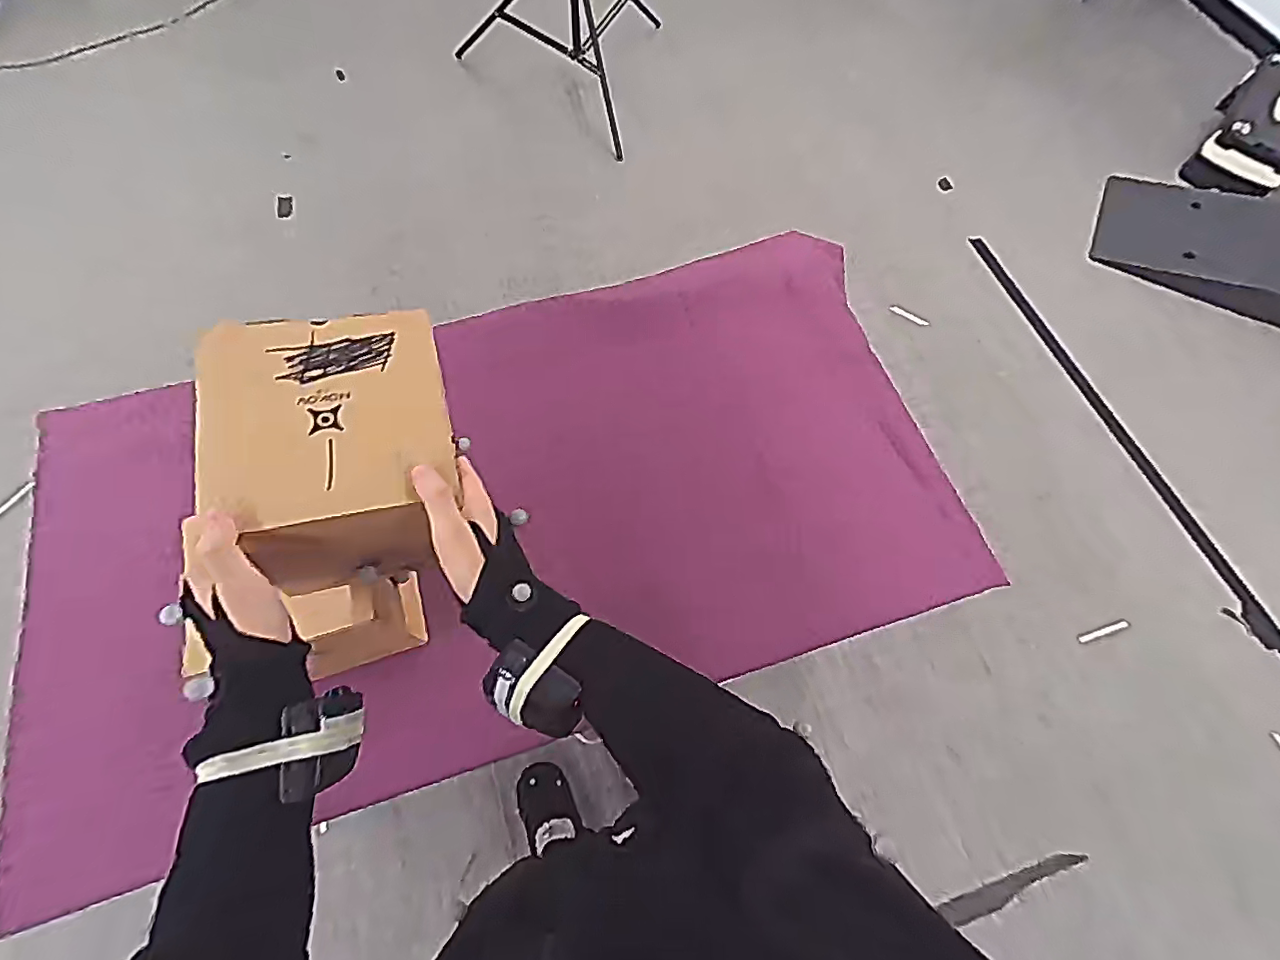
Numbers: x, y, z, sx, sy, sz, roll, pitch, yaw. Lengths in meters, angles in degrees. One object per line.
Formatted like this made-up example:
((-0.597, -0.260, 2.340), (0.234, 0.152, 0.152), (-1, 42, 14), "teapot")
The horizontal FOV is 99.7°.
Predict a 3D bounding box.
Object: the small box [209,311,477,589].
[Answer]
((-0.243, -0.021, 0.476), (0.168, 0.176, 0.179), (-10, 69, -17), "small box")

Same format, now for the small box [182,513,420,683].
((-0.368, 0.121, 0.616), (0.179, 0.176, 0.168), (-17, 68, -9), "small box")
